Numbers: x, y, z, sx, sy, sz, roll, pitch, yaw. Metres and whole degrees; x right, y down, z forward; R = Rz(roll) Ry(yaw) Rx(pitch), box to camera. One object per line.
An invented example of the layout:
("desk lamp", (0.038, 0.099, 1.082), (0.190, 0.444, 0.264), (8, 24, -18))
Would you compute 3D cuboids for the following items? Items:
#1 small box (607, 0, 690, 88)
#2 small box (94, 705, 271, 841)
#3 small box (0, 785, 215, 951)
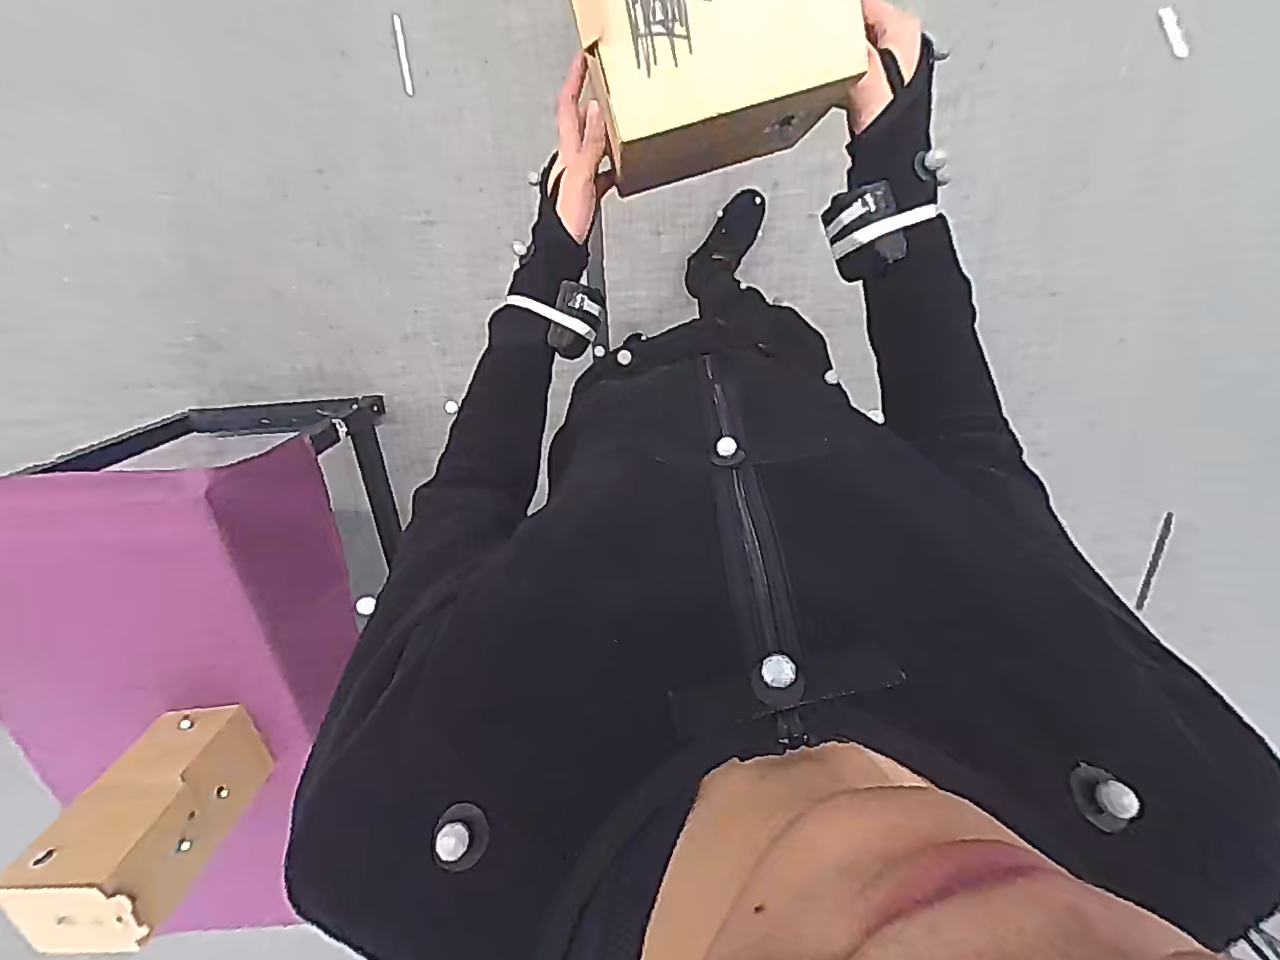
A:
("small box", (0.018, -0.984, 1.184), (0.168, 0.176, 0.179), (-7, 113, 2))
("small box", (-0.868, 0.570, 1.050), (0.168, 0.176, 0.179), (-7, 113, 2))
("small box", (-0.871, 0.636, 0.899), (0.179, 0.176, 0.168), (-2, 114, 0))
